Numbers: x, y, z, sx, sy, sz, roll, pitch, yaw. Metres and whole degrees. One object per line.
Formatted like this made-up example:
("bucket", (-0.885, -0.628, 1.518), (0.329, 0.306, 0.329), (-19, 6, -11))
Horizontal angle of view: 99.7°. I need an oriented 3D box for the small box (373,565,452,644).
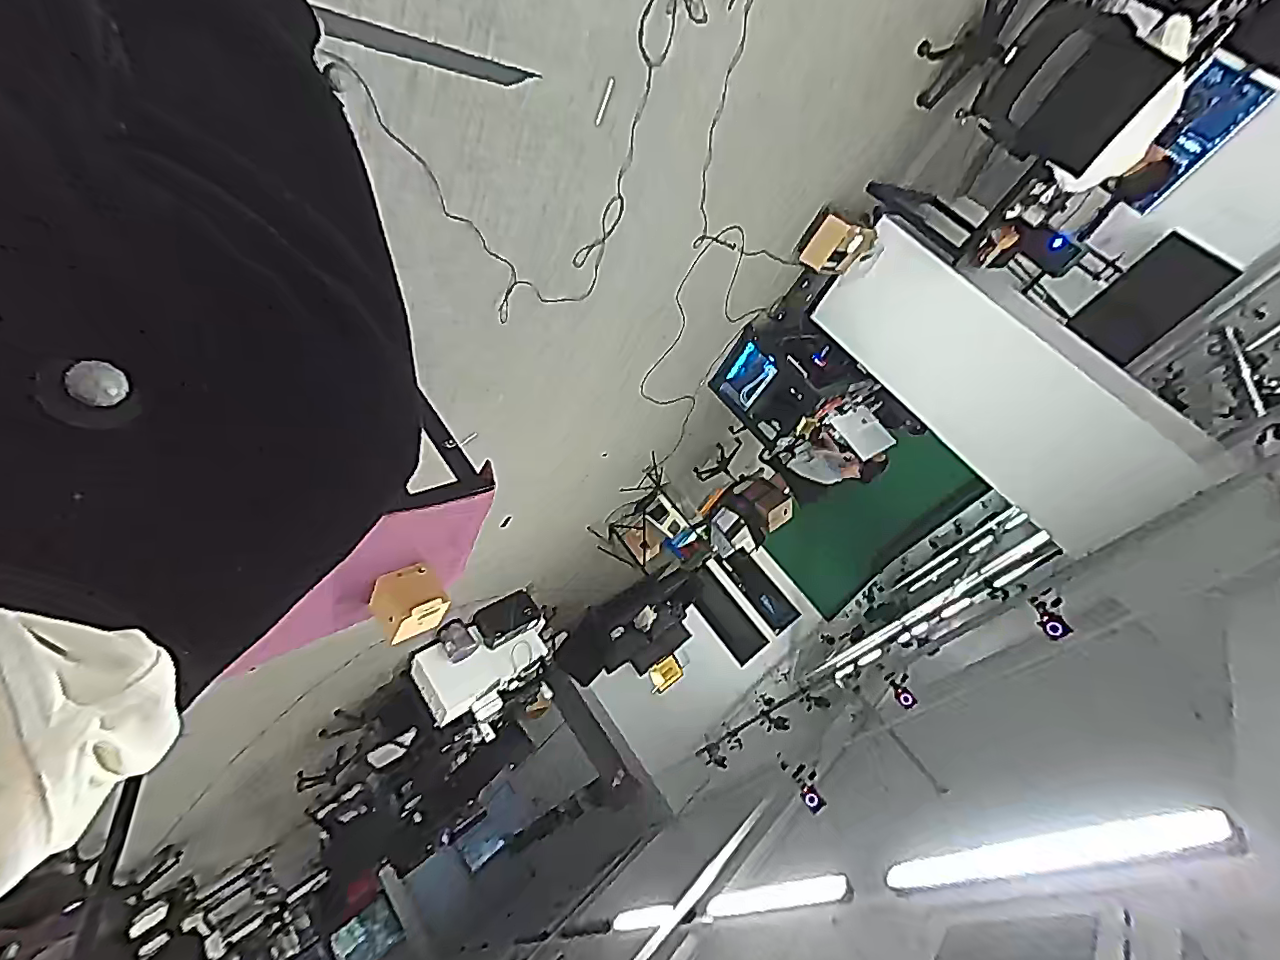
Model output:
("small box", (-0.755, 0.400, 1.785), (0.168, 0.176, 0.179), (-17, 151, -48))
